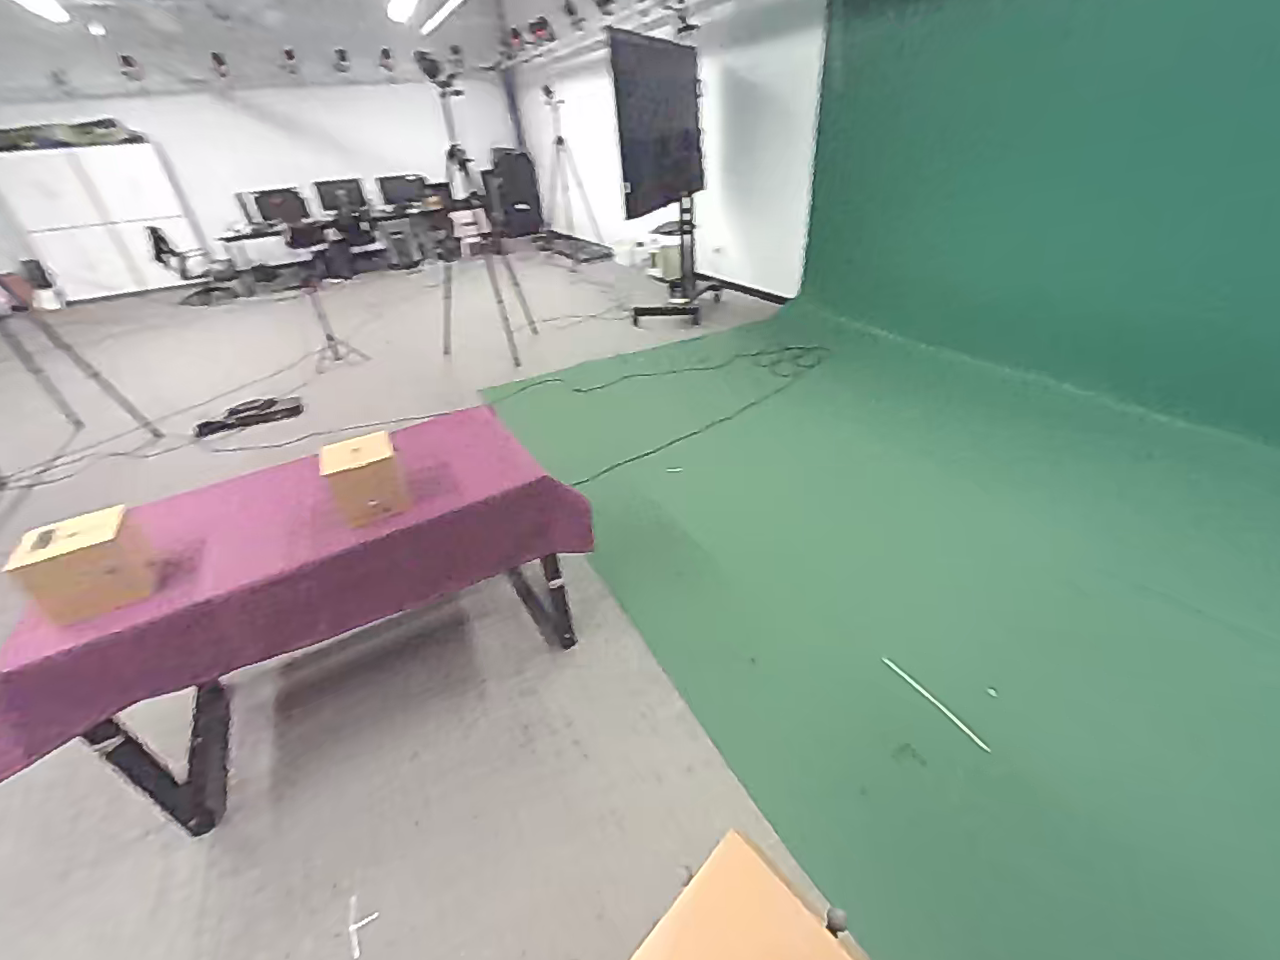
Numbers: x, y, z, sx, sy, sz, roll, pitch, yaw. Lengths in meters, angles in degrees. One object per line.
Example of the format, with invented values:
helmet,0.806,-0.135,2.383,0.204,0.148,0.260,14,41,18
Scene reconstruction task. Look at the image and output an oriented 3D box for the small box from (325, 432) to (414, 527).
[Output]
small box,-0.721,-0.002,1.443,0.168,0.176,0.179,-20,36,-20
